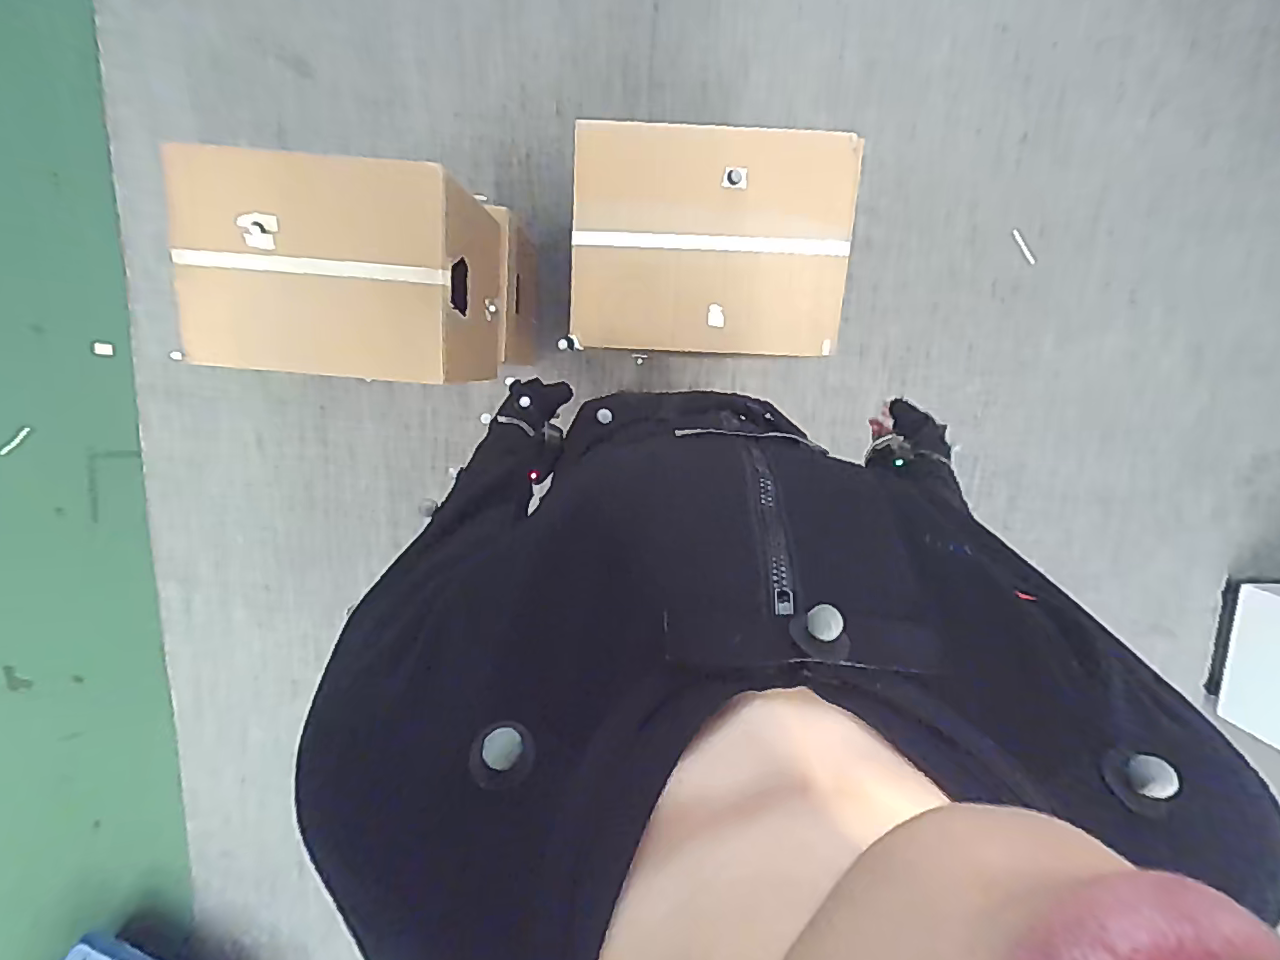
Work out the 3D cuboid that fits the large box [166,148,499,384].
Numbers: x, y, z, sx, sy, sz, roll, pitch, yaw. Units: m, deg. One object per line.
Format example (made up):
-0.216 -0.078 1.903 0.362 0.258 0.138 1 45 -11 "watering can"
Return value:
-0.482 -0.343 0.943 0.408 0.320 0.320 5 102 0 "large box"
